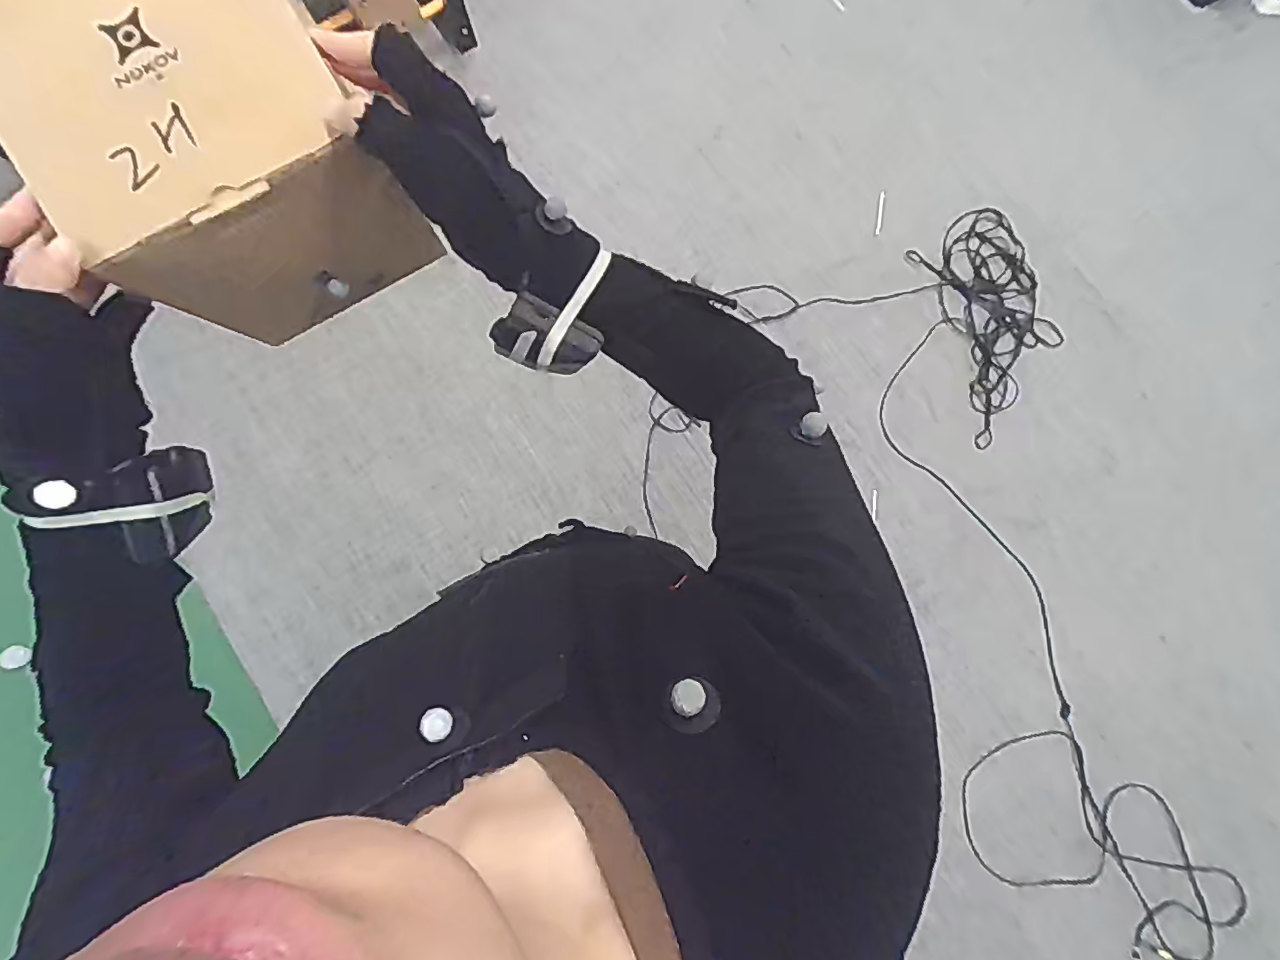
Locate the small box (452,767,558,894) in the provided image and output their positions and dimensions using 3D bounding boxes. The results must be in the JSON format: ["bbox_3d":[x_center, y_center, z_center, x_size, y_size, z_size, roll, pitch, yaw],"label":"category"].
[{"bbox_3d":[-0.320,0.835,1.316,0.168,0.176,0.179,-38,85,-5],"label":"small box"}]

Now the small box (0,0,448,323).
[{"bbox_3d":[-0.258,-0.234,0.357,0.168,0.176,0.179,-30,91,-3],"label":"small box"}]
